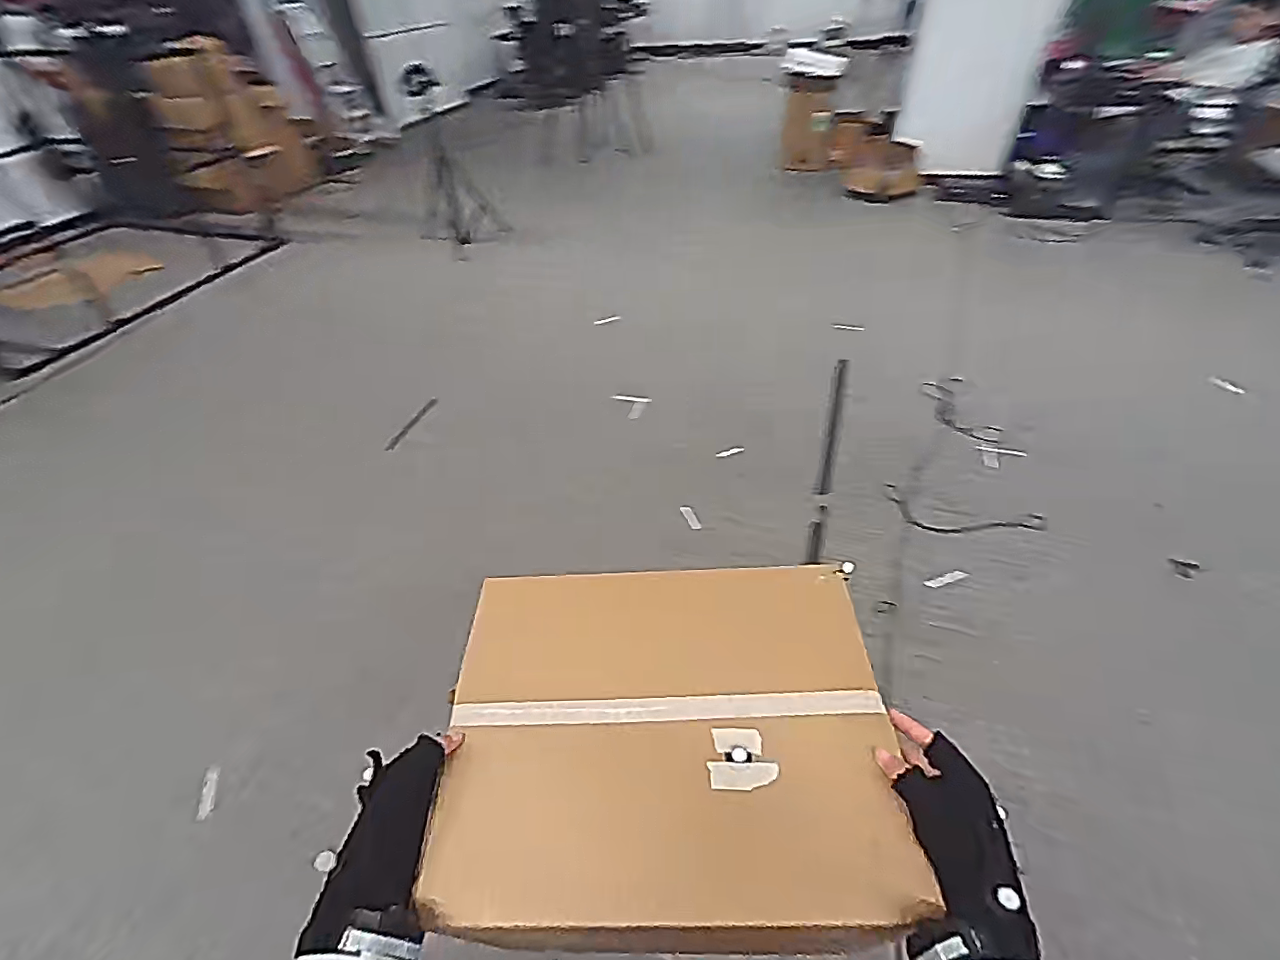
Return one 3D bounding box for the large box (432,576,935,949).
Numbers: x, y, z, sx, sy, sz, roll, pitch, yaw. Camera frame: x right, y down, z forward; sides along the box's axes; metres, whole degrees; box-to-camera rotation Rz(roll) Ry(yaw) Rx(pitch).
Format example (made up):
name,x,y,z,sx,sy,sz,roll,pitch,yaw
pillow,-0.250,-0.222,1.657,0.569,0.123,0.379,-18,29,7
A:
name,x,y,z,sx,sy,sz,roll,pitch,yaw
large box,0.039,0.331,0.629,0.408,0.320,0.320,-2,47,4
